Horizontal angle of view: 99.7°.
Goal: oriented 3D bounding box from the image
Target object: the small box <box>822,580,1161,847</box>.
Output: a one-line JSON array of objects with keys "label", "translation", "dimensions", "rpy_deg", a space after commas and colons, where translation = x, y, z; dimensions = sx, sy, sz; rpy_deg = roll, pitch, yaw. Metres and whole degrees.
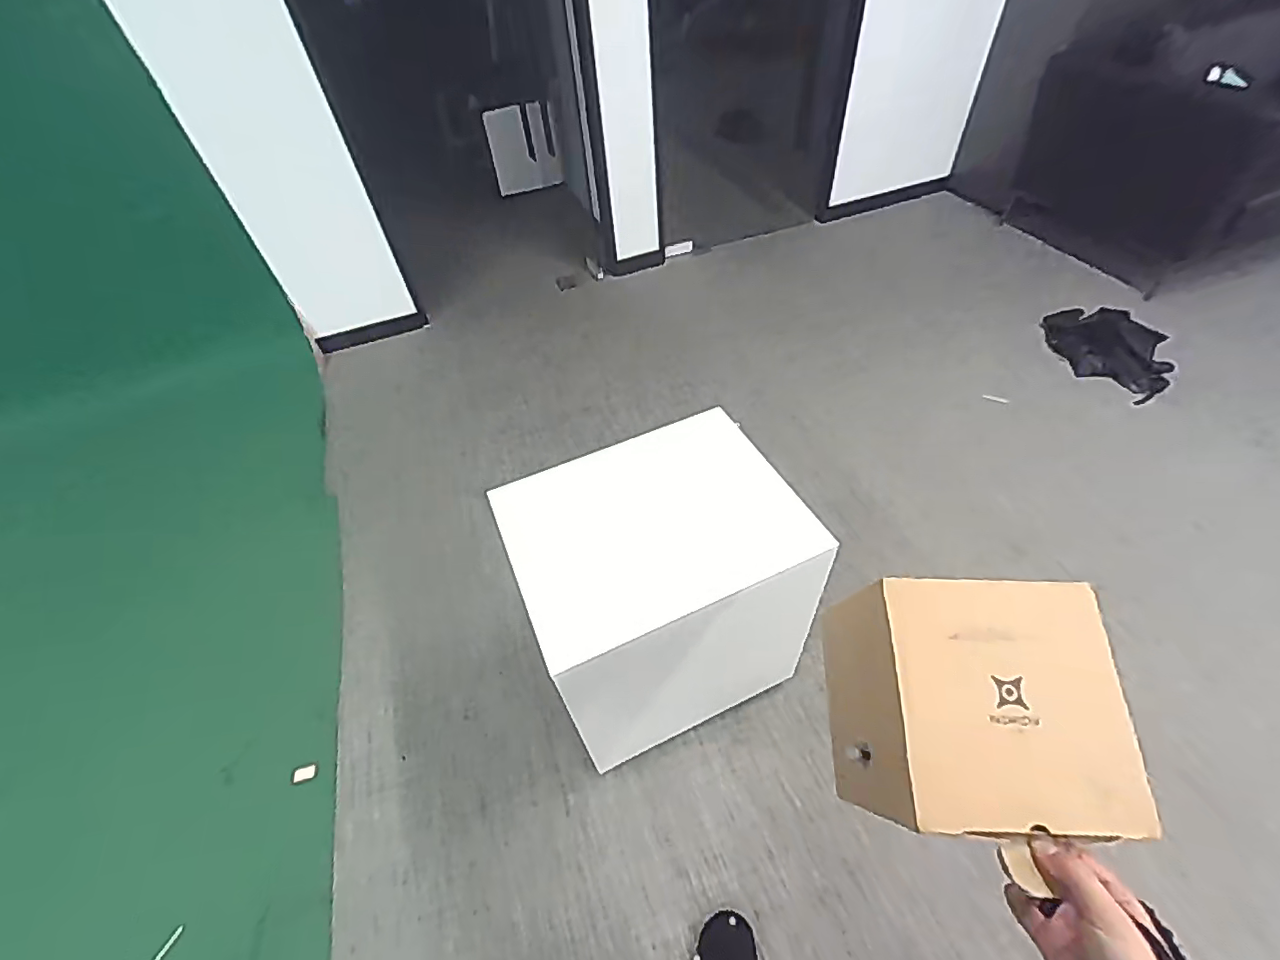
[{"label": "small box", "translation": [0.268, 0.193, 0.466], "dimensions": [0.168, 0.176, 0.179], "rpy_deg": [1, 66, 1]}]
